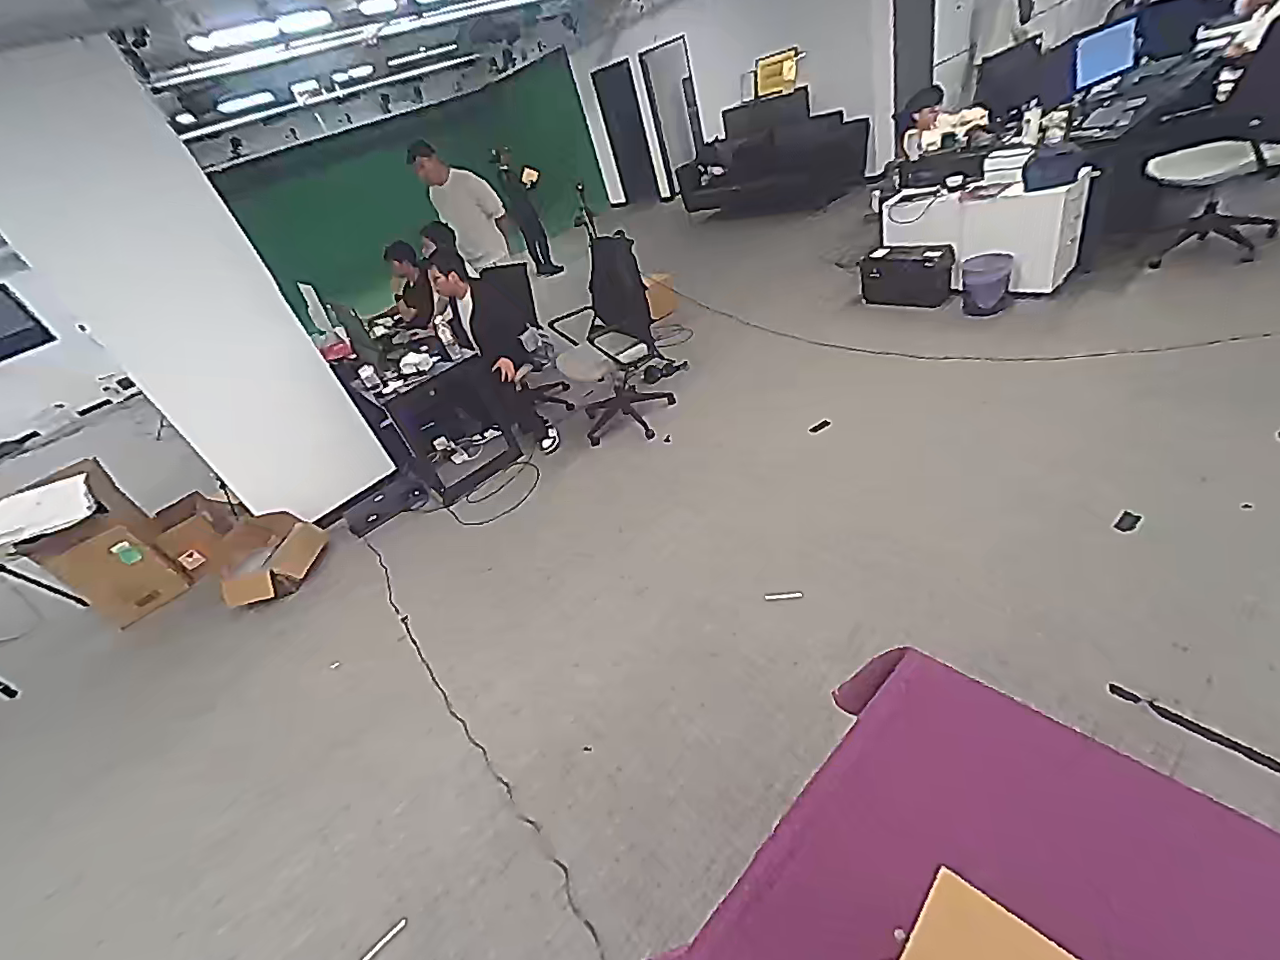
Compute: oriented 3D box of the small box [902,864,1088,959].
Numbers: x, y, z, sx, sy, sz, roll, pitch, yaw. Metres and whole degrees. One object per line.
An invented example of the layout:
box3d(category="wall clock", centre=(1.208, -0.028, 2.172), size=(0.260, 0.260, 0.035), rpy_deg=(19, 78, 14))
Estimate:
box3d(category="small box", centre=(0.354, 0.551, 0.545), size=(0.168, 0.176, 0.179), rpy_deg=(21, 51, 42))
